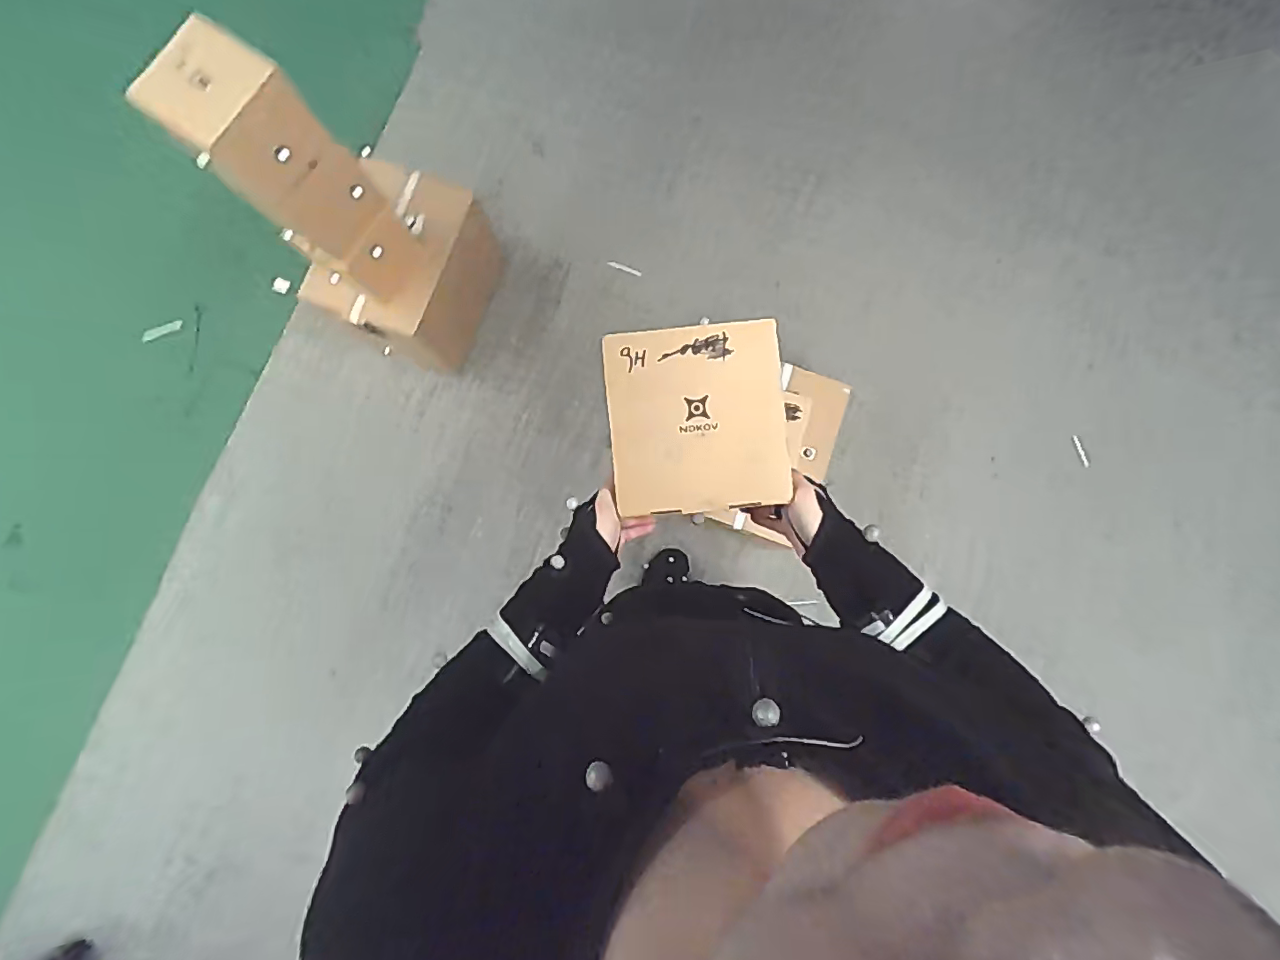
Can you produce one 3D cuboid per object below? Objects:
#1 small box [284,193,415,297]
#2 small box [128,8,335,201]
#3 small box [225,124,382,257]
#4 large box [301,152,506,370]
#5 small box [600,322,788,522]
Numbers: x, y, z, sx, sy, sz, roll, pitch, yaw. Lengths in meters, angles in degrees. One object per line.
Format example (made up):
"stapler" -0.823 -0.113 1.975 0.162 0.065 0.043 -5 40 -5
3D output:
"small box" -0.638 -0.552 1.218 0.168 0.176 0.179 31 85 5
"small box" -0.656 -0.602 0.895 0.179 0.176 0.168 35 85 6
"small box" -0.642 -0.583 1.058 0.168 0.176 0.179 34 86 6
"large box" -0.610 -0.568 1.464 0.320 0.320 0.408 20 83 3
"small box" 0.053 -0.055 0.585 0.168 0.176 0.179 -6 89 1
